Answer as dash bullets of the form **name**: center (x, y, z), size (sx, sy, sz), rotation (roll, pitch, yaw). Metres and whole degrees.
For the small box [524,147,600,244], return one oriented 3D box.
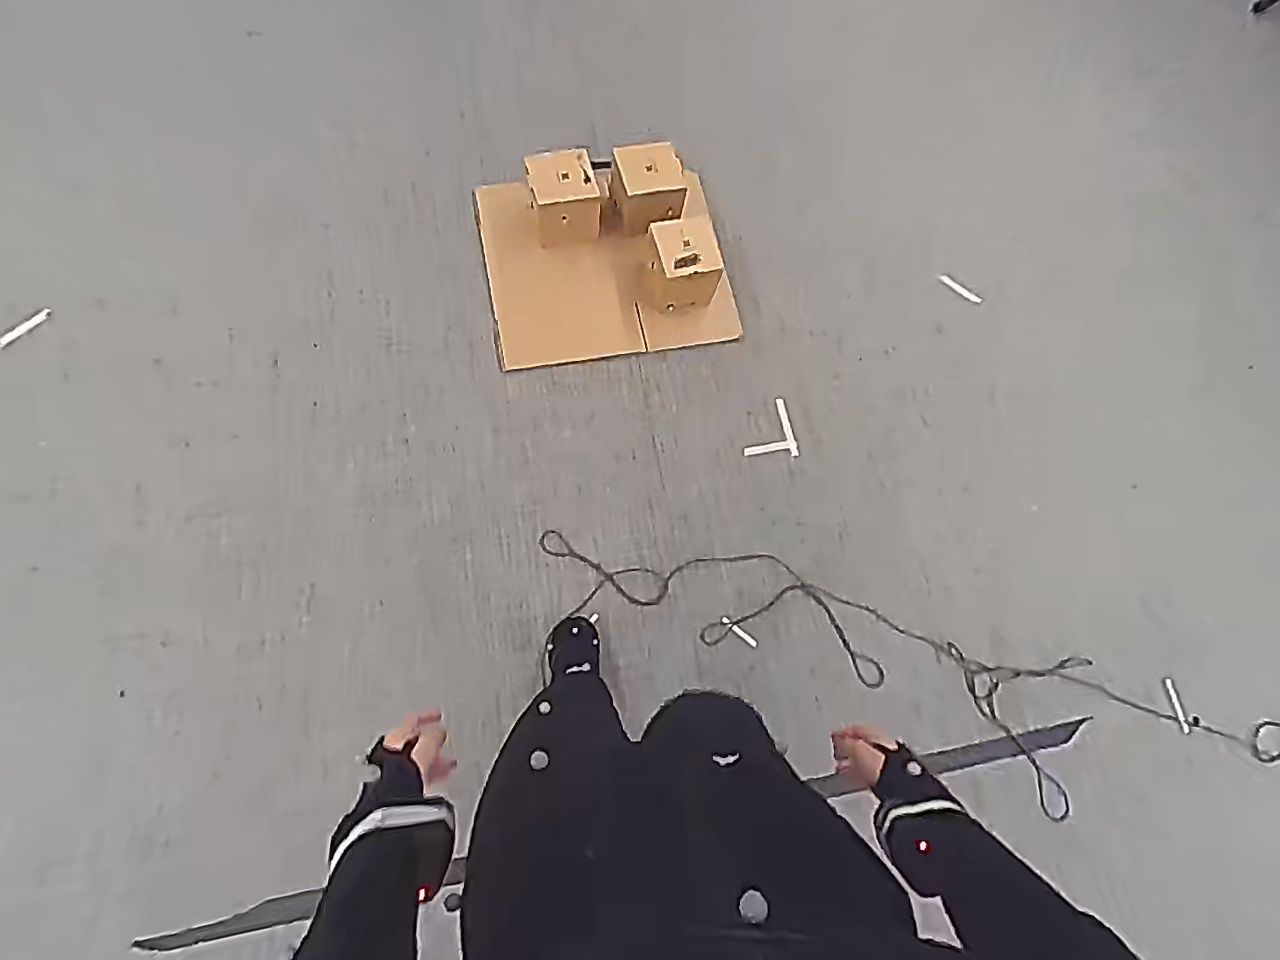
- **small box**: center (-0.215, -0.794, 1.526), size (0.179, 0.176, 0.168), rotation (-14, 78, -9)

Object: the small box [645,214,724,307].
- **small box**: center (0.119, -0.605, 1.517), size (0.168, 0.176, 0.179), rotation (-13, 77, -10)
